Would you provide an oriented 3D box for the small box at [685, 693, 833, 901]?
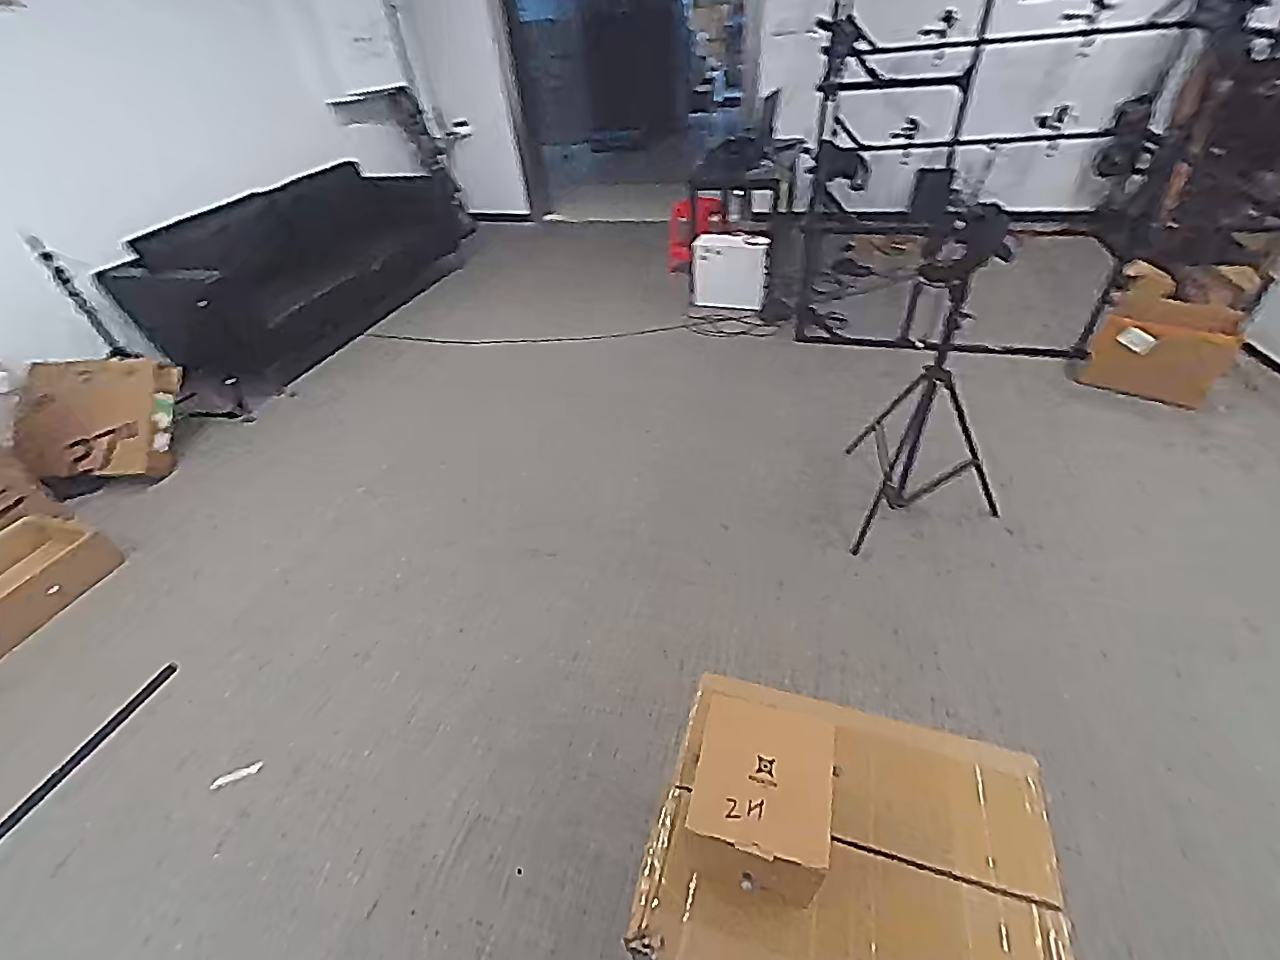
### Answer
[{"bbox_3d":[0.160,0.427,0.733,0.168,0.176,0.179,8,43,16],"label":"small box"}]
